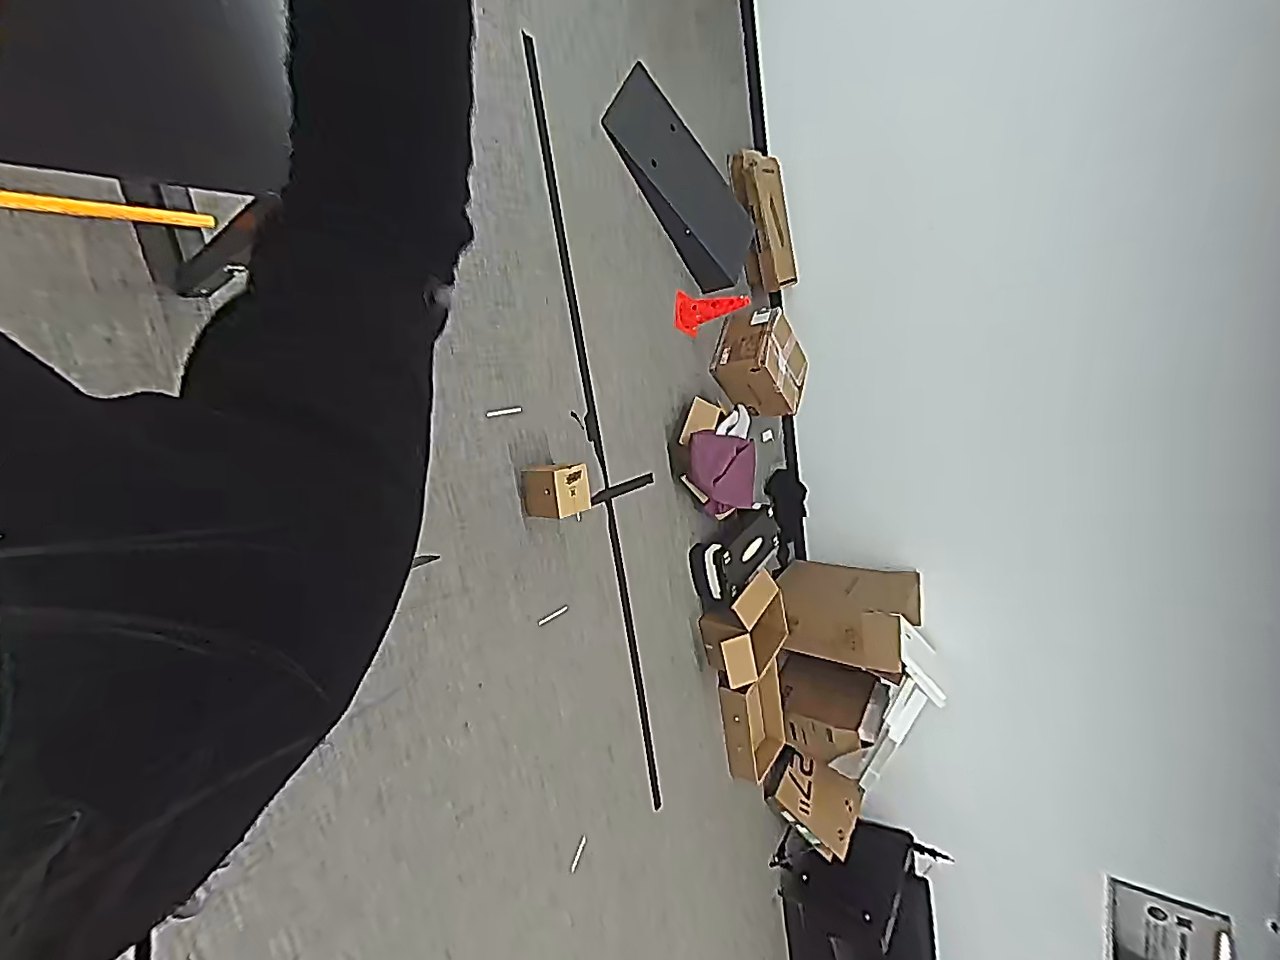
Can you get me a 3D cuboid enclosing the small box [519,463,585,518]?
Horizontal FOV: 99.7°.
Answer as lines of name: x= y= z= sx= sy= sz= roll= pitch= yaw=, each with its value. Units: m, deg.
small box: x=-0.327 y=0.036 z=1.988 sx=0.168 sy=0.176 sz=0.179 roll=-17 pitch=105 yaw=-51
